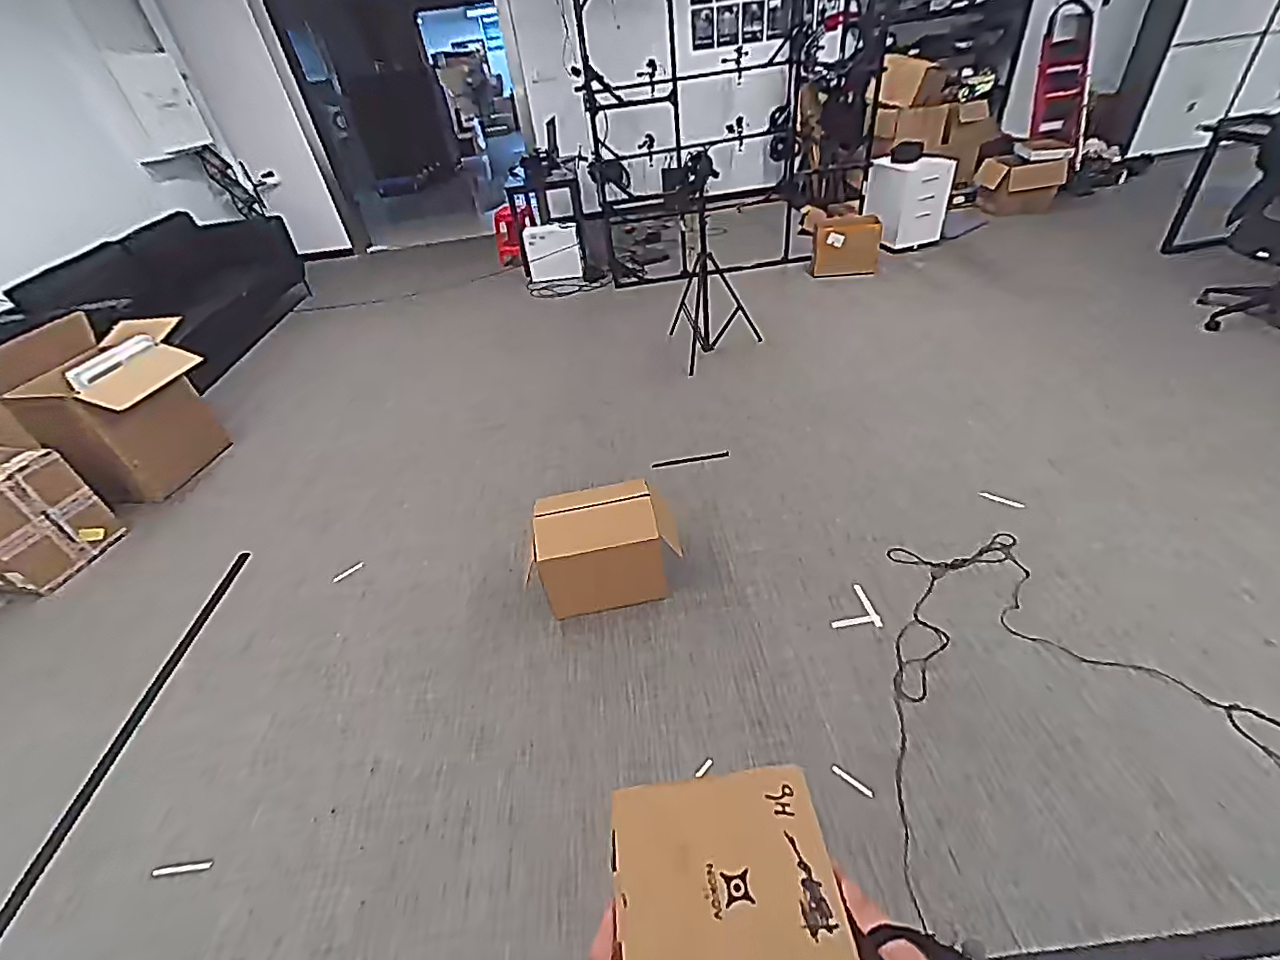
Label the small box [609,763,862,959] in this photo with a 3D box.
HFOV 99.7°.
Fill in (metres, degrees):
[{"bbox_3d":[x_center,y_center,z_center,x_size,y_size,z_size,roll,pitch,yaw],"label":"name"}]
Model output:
[{"bbox_3d":[0.071,0.374,0.473,0.179,0.176,0.168,-6,43,-3],"label":"small box"}]
